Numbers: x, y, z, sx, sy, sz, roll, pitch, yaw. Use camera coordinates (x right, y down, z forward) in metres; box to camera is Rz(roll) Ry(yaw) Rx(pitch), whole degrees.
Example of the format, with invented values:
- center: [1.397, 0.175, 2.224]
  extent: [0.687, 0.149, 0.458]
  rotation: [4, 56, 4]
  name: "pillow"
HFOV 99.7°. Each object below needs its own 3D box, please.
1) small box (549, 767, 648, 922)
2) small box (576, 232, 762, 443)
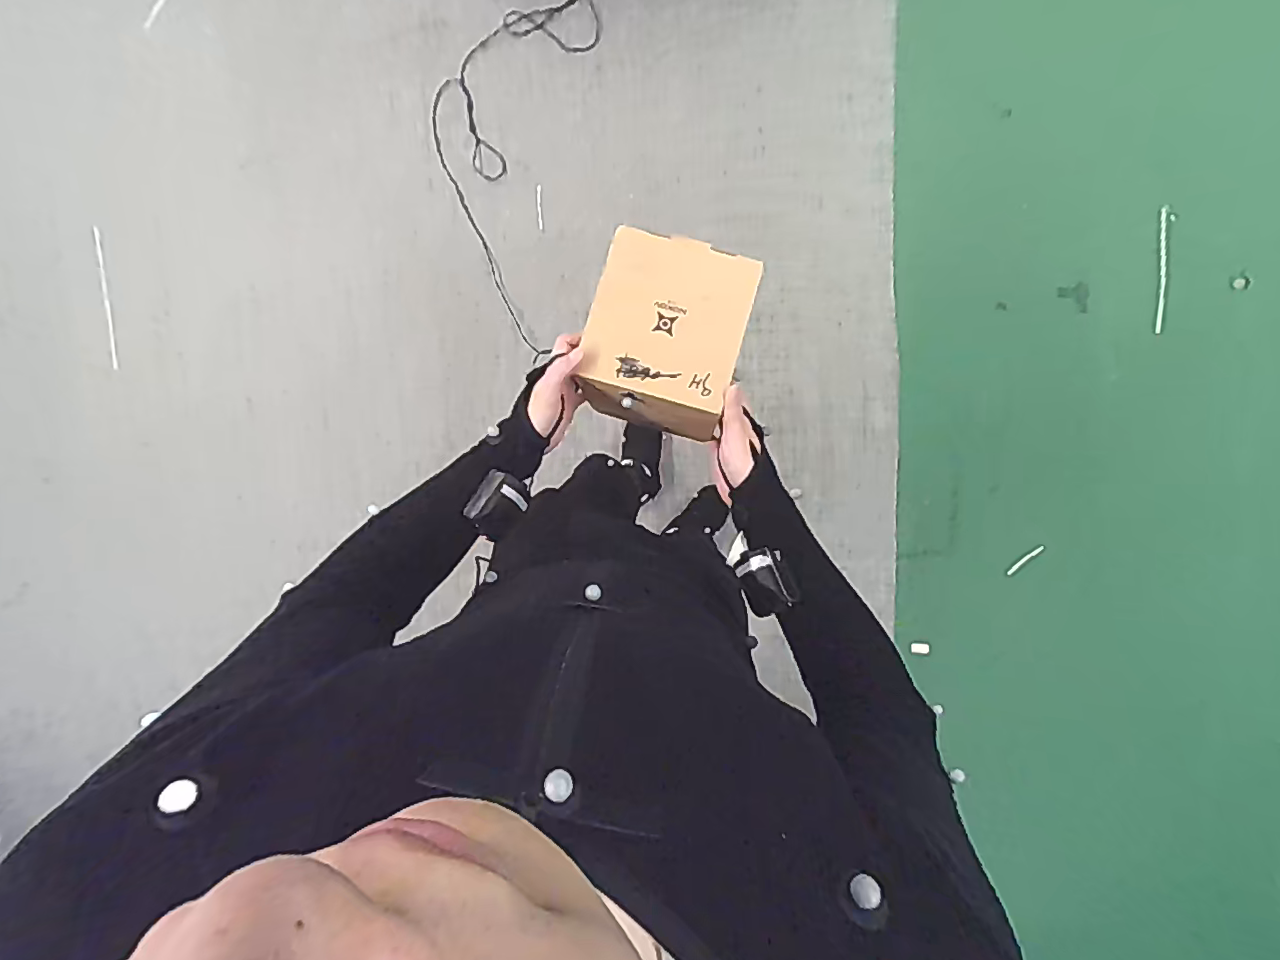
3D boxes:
- center: [-0.075, 0.701, 1.055]
  extent: [0.168, 0.176, 0.179]
  rotation: [3, 97, 6]
  name: "small box"
- center: [0.033, -0.159, 0.658]
  extent: [0.168, 0.176, 0.179]
  rotation: [16, 84, 3]
  name: "small box"
